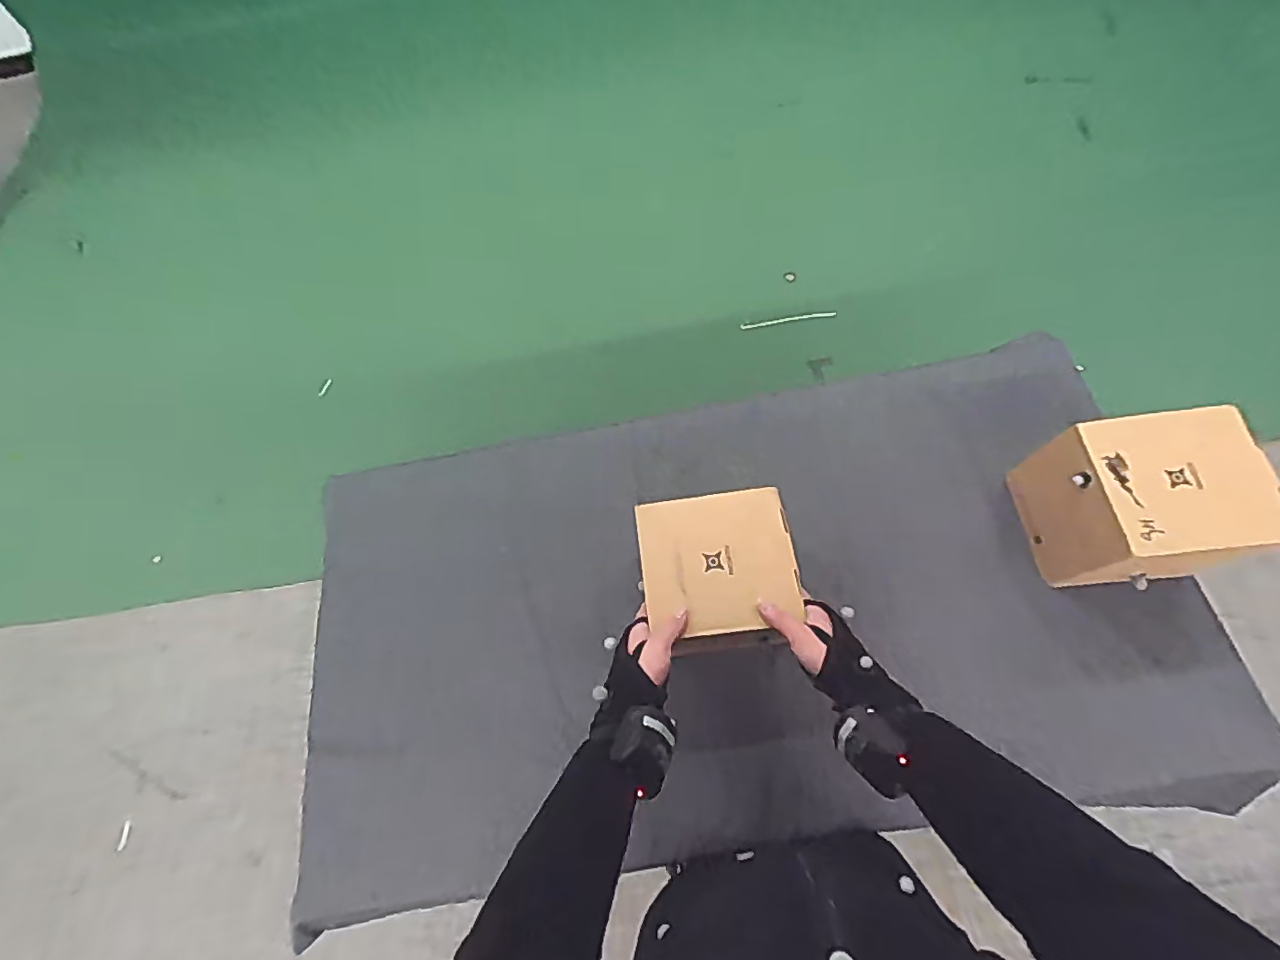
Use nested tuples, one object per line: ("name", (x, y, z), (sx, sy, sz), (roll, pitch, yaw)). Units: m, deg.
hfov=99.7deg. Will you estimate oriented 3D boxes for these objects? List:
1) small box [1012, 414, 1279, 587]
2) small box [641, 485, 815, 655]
("small box", (0.618, 0.034, 0.675), (0.179, 0.176, 0.168), (-5, 68, 3))
("small box", (0.102, 0.122, 0.685), (0.179, 0.176, 0.168), (-8, 66, 3))
